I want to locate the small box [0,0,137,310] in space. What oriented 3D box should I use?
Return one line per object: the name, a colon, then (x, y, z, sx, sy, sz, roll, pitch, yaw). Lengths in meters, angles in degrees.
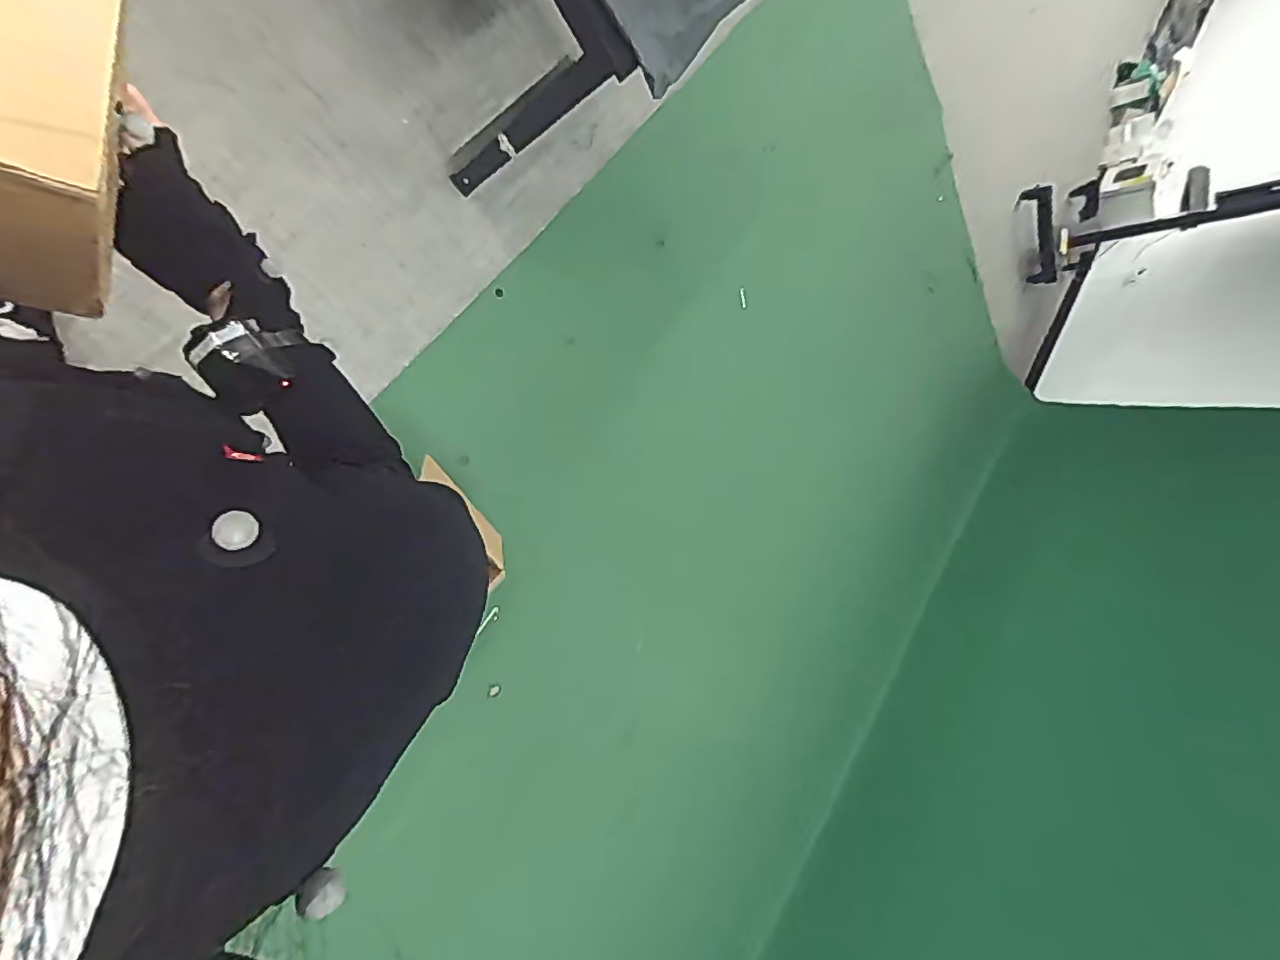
small box: (-0.403, -0.226, 0.302, 0.168, 0.176, 0.179, 5, 77, -45)
